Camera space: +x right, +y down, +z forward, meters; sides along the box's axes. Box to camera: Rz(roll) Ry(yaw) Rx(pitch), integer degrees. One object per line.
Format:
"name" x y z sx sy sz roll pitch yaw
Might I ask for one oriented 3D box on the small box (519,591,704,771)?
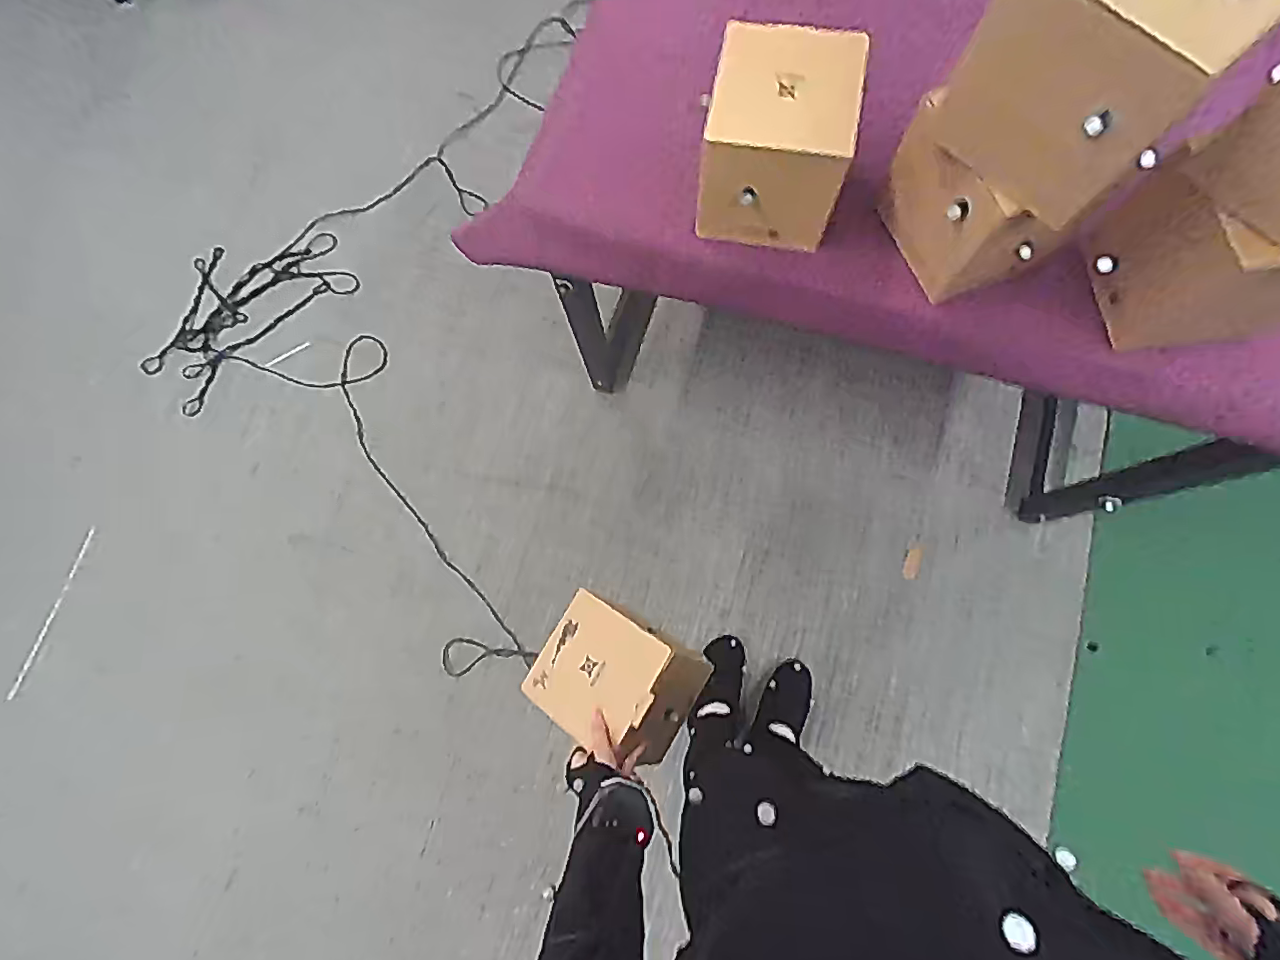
"small box" -0.032 0.289 0.786 0.179 0.176 0.168 26 78 33

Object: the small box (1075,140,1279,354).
"small box" 0.668 -0.263 0.626 0.179 0.176 0.168 -5 74 3

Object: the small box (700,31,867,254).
"small box" 0.173 -0.420 0.695 0.168 0.176 0.179 10 76 6

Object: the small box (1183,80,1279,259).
"small box" 0.660 -0.316 0.472 0.168 0.176 0.179 -36 76 -7

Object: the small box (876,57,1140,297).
"small box" 0.425 -0.350 0.661 0.168 0.176 0.179 -20 76 -2
